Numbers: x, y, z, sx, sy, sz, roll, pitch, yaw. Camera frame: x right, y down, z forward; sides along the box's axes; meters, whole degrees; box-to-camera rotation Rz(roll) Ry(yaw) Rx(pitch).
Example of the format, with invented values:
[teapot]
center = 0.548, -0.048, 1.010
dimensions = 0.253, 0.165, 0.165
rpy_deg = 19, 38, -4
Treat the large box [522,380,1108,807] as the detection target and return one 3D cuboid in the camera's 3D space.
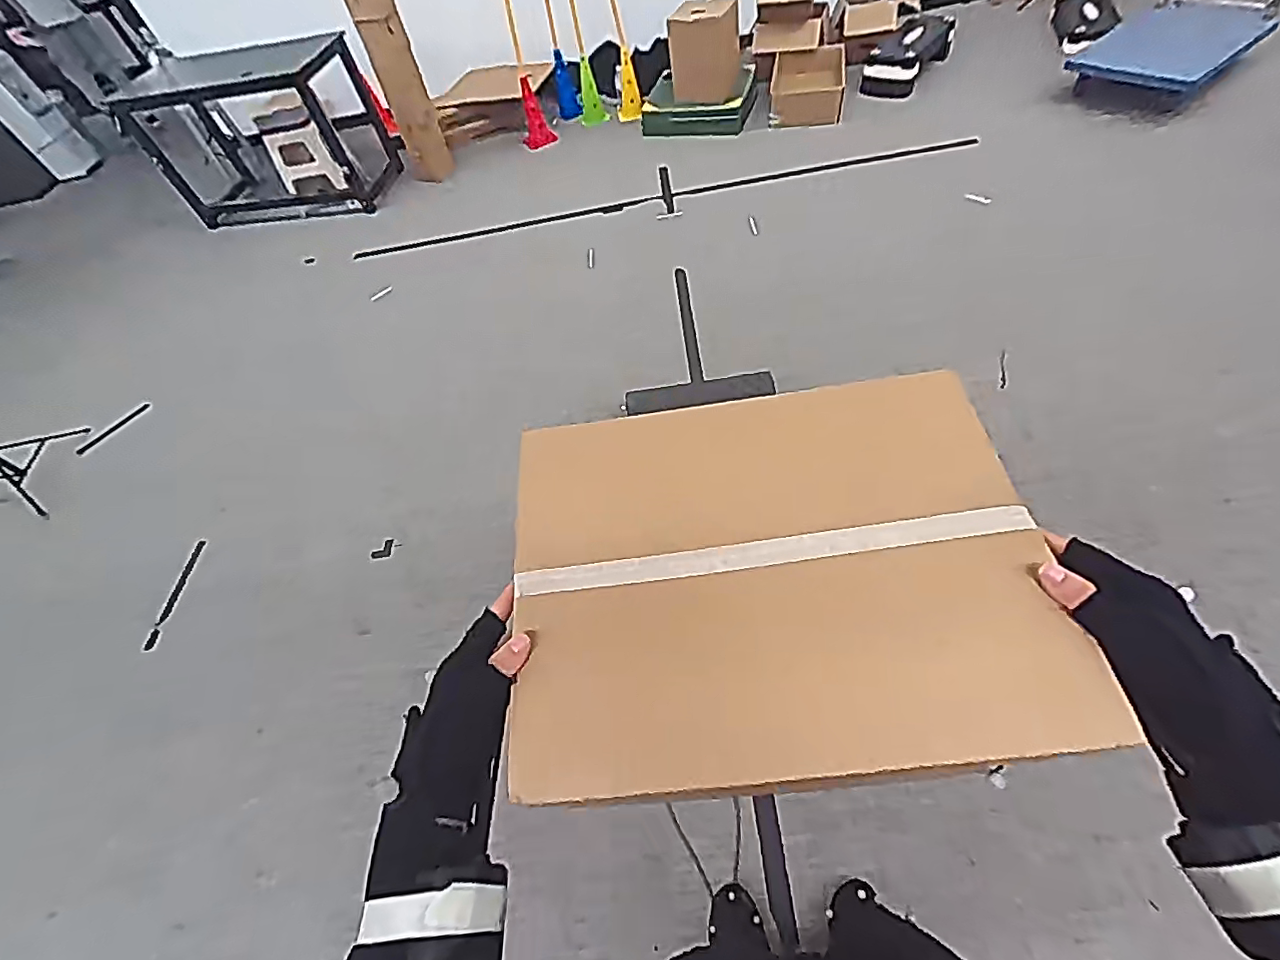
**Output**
[large box]
center = 0.120, 0.140, 0.567
dimensions = 0.408, 0.320, 0.320
rpy_deg = -9, 58, 4
